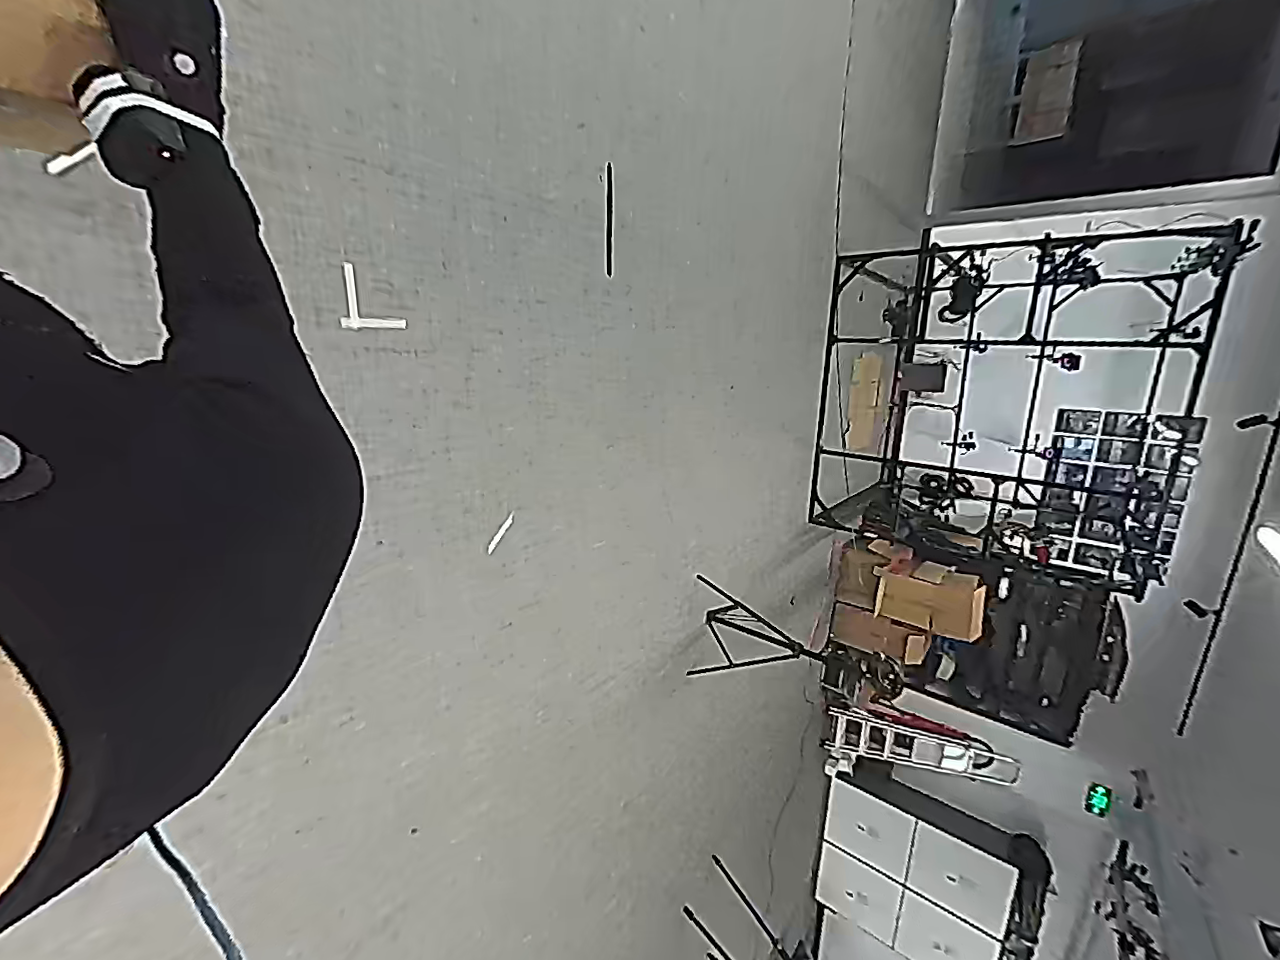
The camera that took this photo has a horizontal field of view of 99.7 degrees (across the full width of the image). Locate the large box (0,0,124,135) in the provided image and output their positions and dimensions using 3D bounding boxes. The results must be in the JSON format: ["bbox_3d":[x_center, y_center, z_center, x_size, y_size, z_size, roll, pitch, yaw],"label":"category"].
[{"bbox_3d":[-0.647,-0.450,0.324,0.408,0.320,0.320,-18,119,-50],"label":"large box"}]
